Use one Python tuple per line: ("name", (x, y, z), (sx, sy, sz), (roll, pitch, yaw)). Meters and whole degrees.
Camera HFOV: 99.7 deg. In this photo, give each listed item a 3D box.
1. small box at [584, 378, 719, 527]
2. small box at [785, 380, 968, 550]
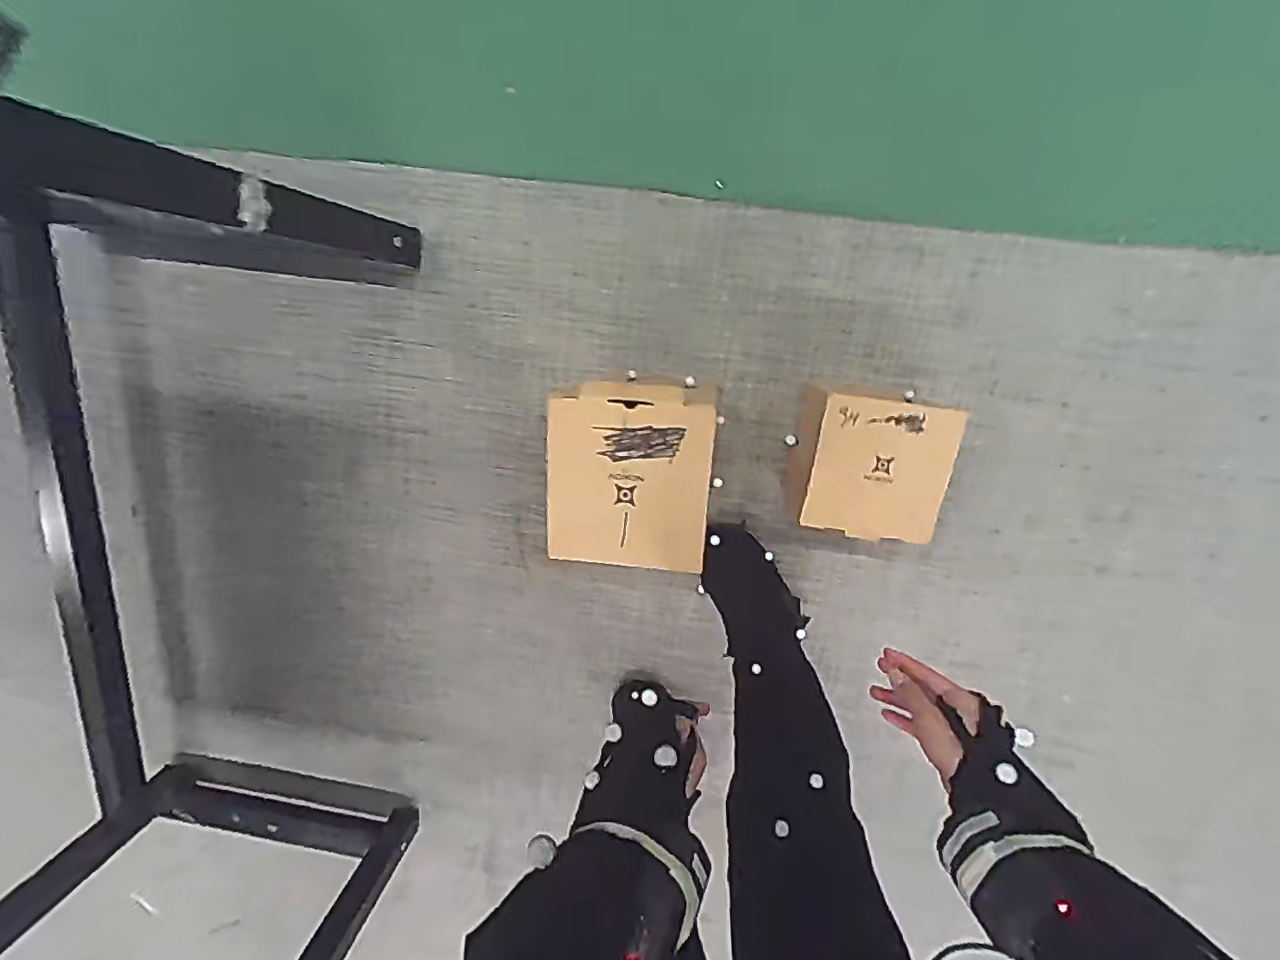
("small box", (0.021, -0.049, 0.771), (0.168, 0.176, 0.179), (6, 106, 7))
("small box", (0.303, -0.029, 0.741), (0.168, 0.176, 0.179), (10, 108, 4))
